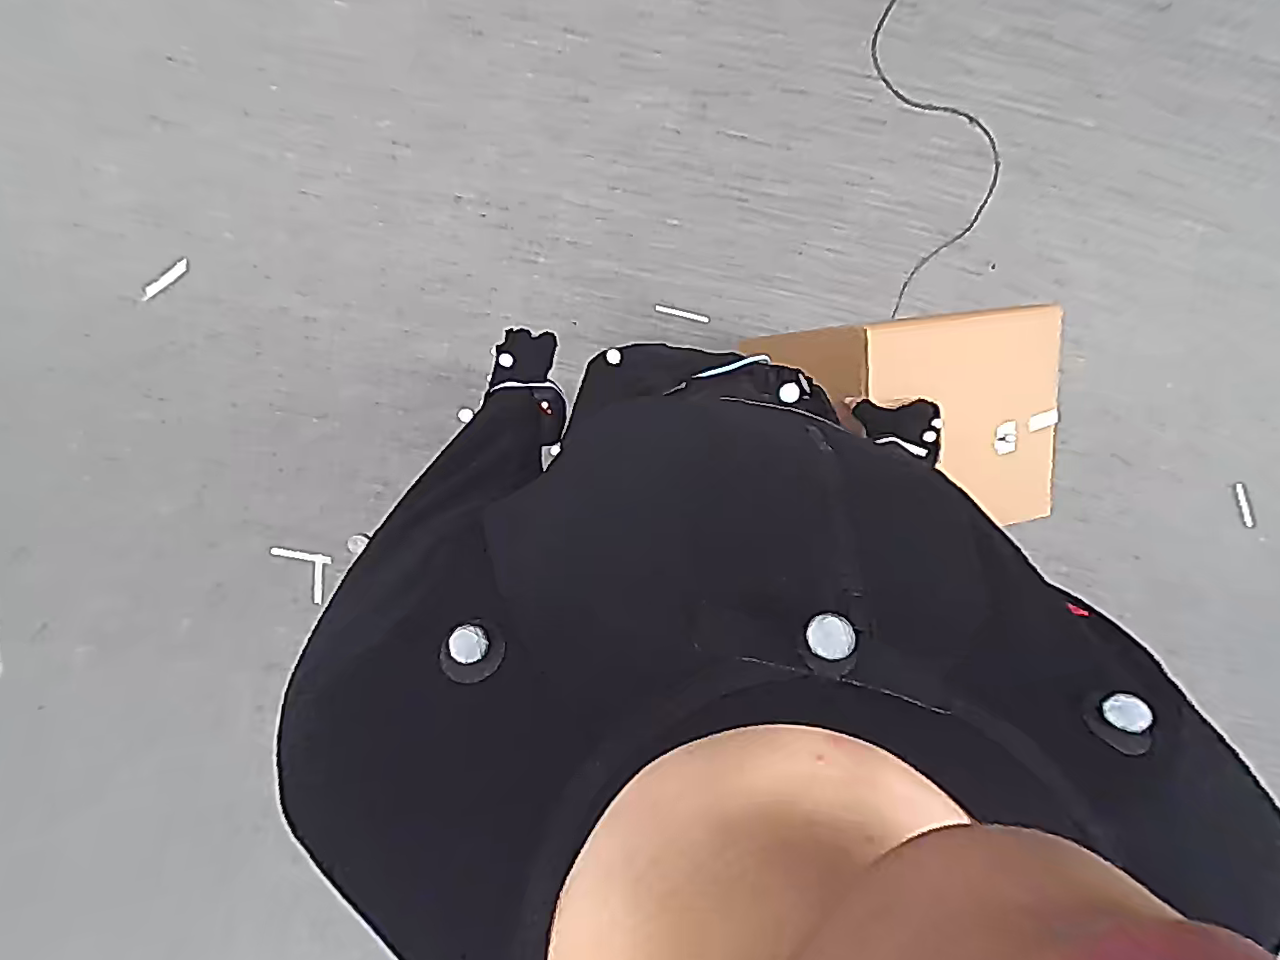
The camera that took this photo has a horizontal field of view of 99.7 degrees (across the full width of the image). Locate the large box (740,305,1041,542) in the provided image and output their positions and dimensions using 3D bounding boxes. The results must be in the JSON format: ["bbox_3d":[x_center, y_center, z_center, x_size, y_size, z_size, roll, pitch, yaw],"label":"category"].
[{"bbox_3d":[0.406,-0.115,0.959,0.320,0.408,0.320,-8,103,-10],"label":"large box"}]
